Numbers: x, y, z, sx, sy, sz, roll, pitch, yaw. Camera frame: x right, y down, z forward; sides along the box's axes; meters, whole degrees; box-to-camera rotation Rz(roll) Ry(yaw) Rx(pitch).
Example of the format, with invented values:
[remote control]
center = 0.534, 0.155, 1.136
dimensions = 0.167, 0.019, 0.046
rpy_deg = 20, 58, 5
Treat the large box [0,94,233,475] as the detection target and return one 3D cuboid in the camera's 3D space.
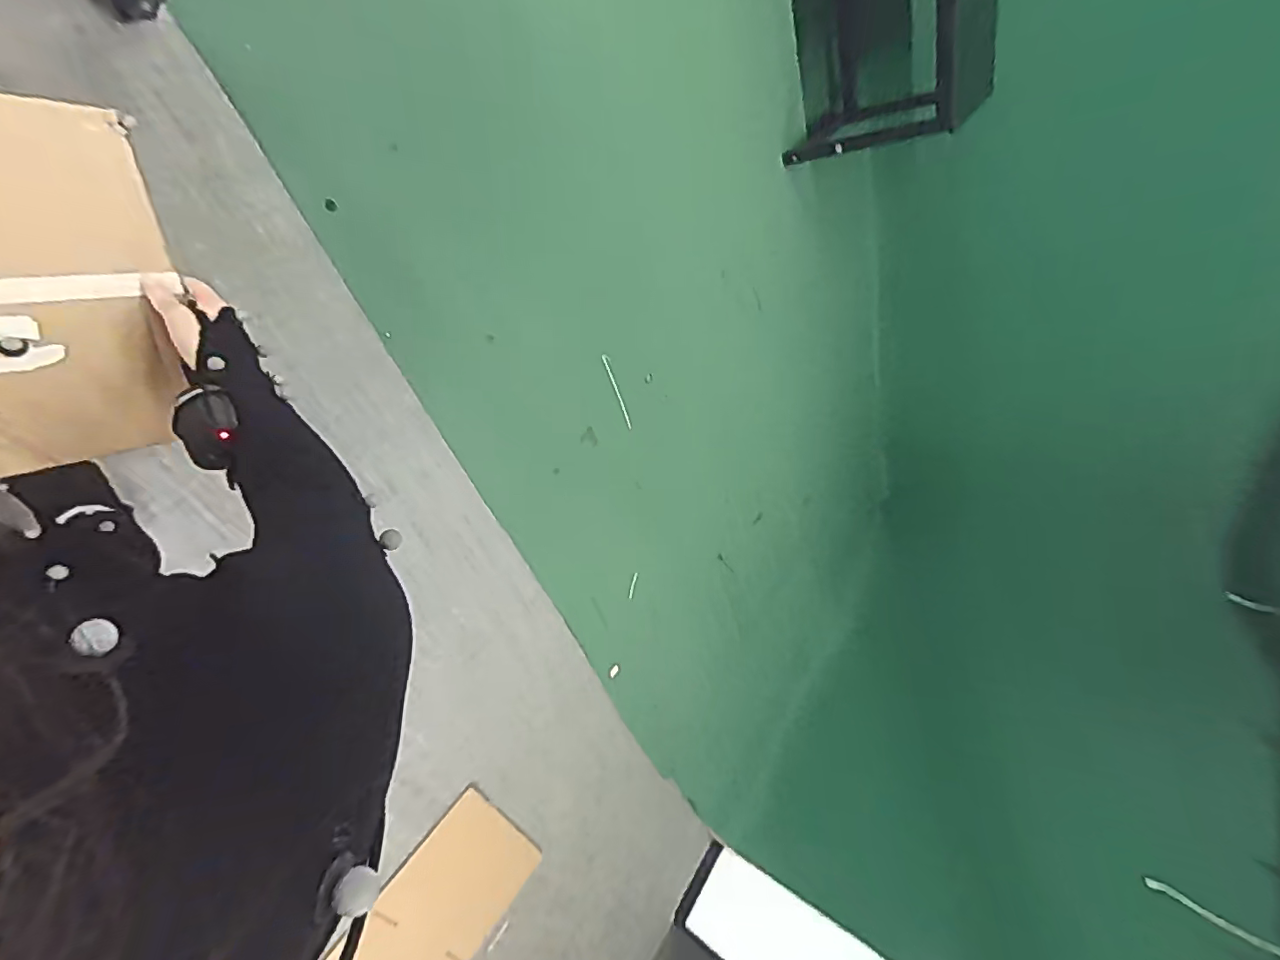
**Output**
[large box]
center = -0.711, -0.157, 0.504
dimensions = 0.408, 0.320, 0.320
rpy_deg = -28, 119, -48
